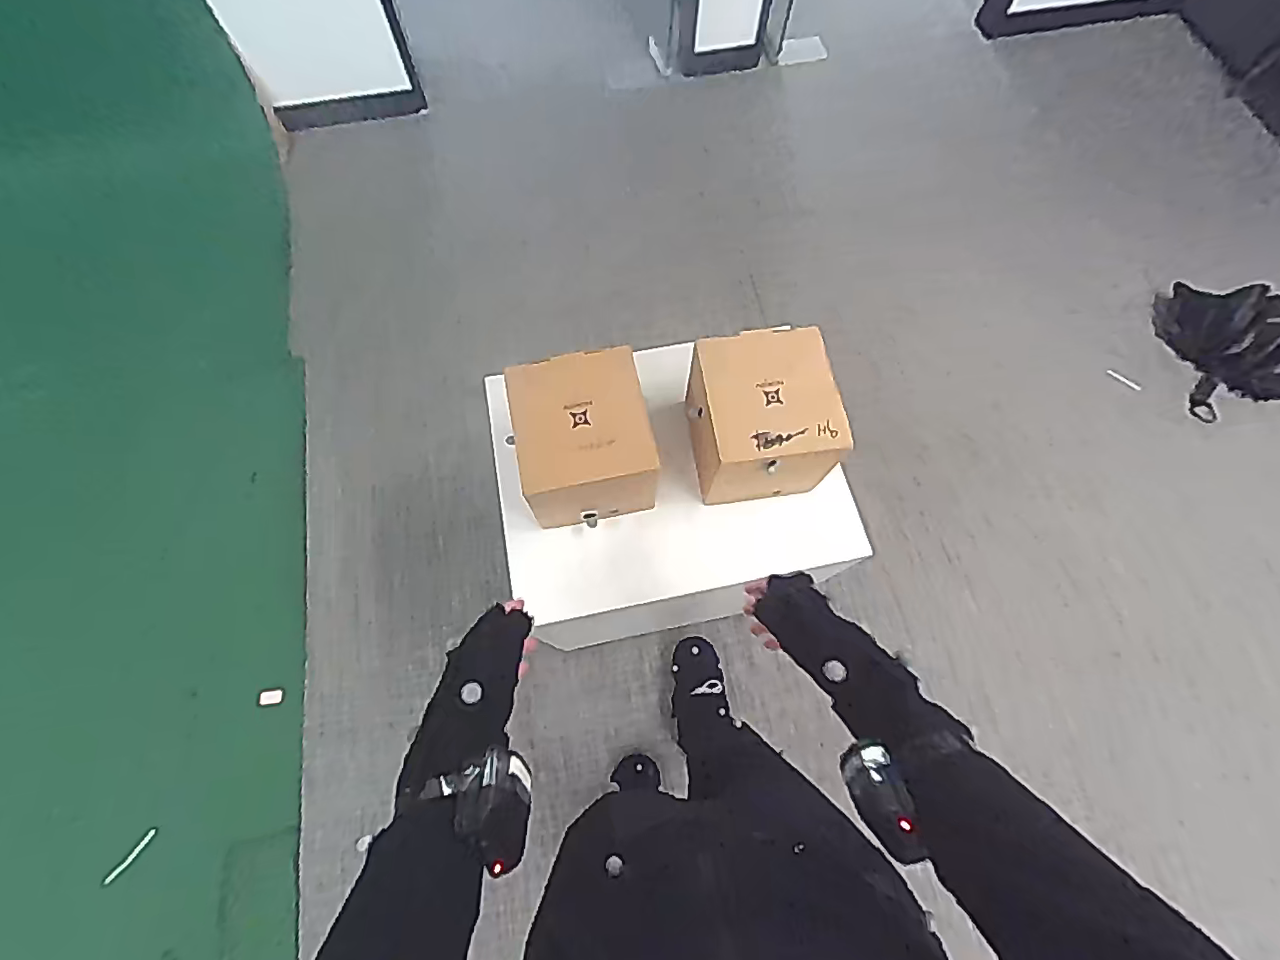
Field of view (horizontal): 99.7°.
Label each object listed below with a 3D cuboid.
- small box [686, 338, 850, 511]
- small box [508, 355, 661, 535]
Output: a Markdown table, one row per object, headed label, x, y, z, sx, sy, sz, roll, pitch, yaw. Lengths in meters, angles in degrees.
| label | x | y | z | sx | sy | sz | roll | pitch | yaw |
| --- | --- | --- | --- | --- | --- | --- | --- | --- | --- |
| small box | 0.161 | -0.071 | 0.752 | 0.168 | 0.176 | 0.179 | -7 | 69 | -3 |
| small box | -0.073 | -0.041 | 0.740 | 0.168 | 0.176 | 0.179 | -13 | 71 | -4 |
